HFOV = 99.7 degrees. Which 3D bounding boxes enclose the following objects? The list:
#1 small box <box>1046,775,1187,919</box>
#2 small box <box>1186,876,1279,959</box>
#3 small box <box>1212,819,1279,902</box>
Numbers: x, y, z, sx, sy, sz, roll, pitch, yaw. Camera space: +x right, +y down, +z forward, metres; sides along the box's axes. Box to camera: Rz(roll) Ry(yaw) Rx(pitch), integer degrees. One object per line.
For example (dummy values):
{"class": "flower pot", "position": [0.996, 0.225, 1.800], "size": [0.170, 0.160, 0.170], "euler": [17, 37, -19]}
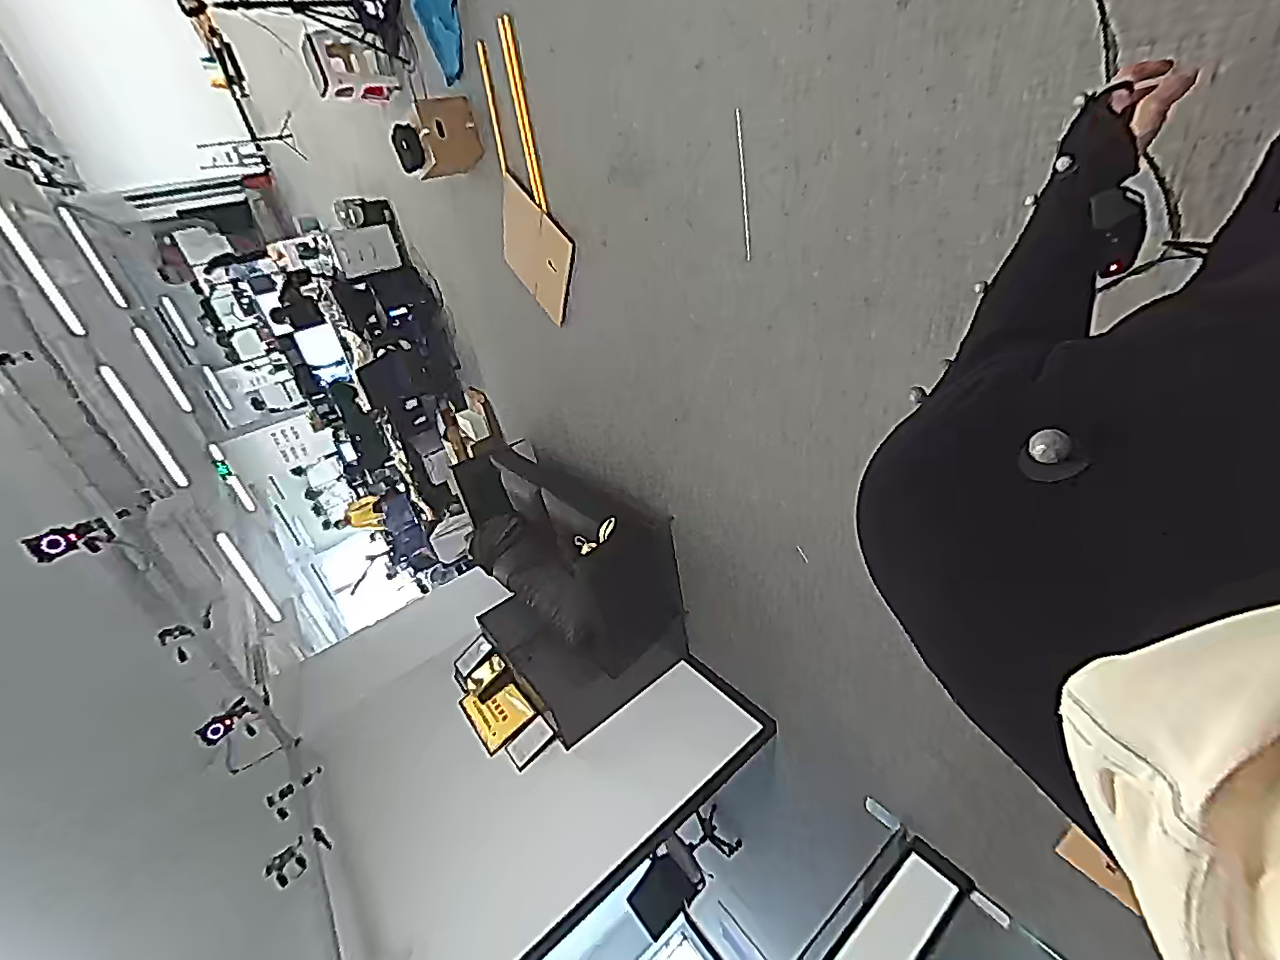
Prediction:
{"class": "small box", "position": [1.044, 0.795, 1.185], "size": [0.168, 0.176, 0.179], "euler": [34, 143, 42]}
{"class": "small box", "position": [1.206, 0.906, 1.020], "size": [0.168, 0.176, 0.179], "euler": [36, 143, 41]}
{"class": "small box", "position": [1.338, 0.843, 1.094], "size": [0.179, 0.176, 0.168], "euler": [35, 142, 41]}
